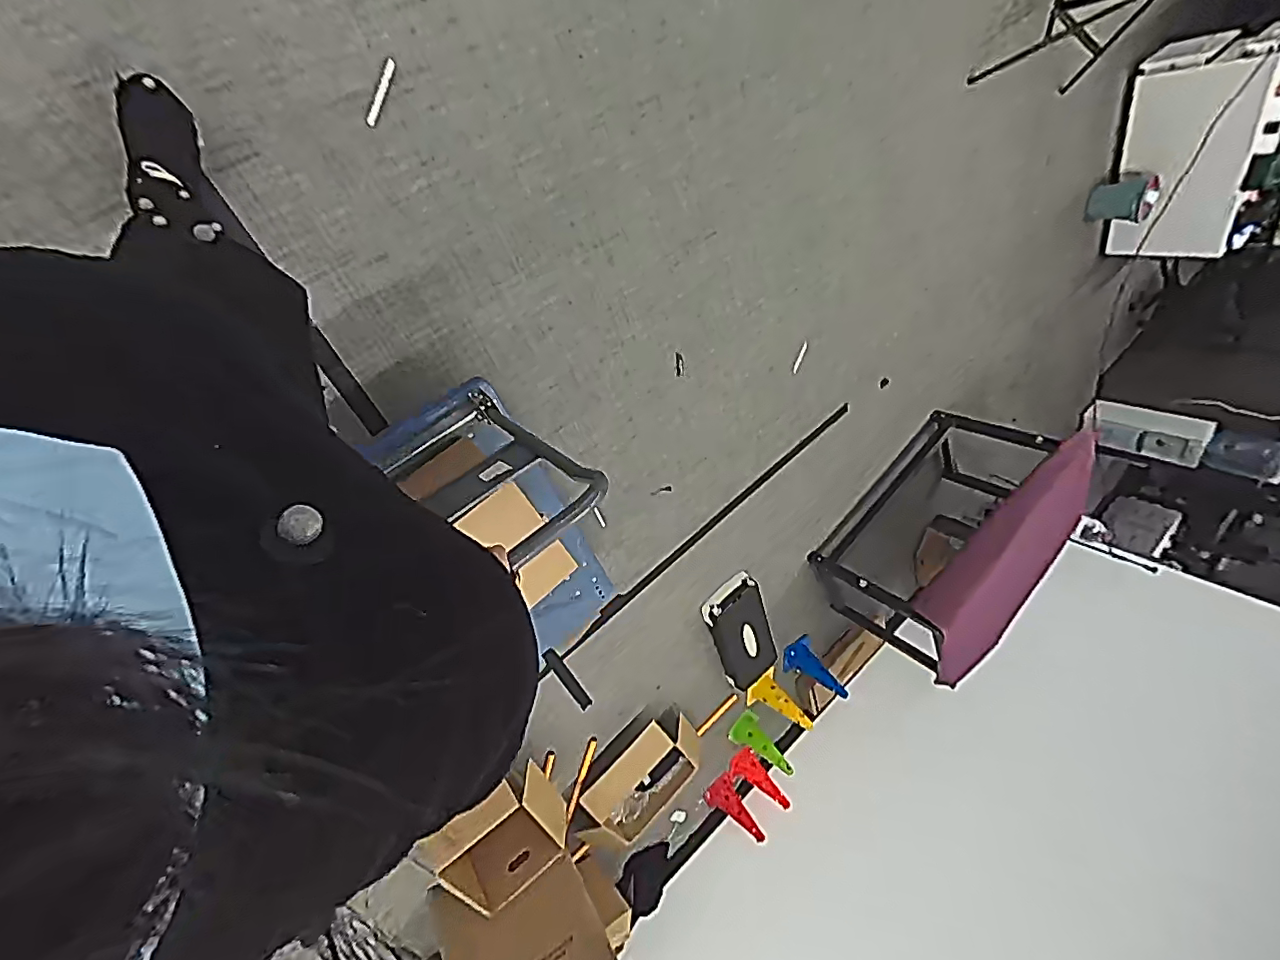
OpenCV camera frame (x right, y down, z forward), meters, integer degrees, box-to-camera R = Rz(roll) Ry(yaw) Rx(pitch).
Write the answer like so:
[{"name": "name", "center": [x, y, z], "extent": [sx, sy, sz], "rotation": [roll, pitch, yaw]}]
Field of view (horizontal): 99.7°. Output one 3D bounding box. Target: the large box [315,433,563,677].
[{"name": "large box", "center": [-0.466, 0.160, 1.273], "extent": [0.408, 0.320, 0.320], "rotation": [-40, 129, -15]}]
